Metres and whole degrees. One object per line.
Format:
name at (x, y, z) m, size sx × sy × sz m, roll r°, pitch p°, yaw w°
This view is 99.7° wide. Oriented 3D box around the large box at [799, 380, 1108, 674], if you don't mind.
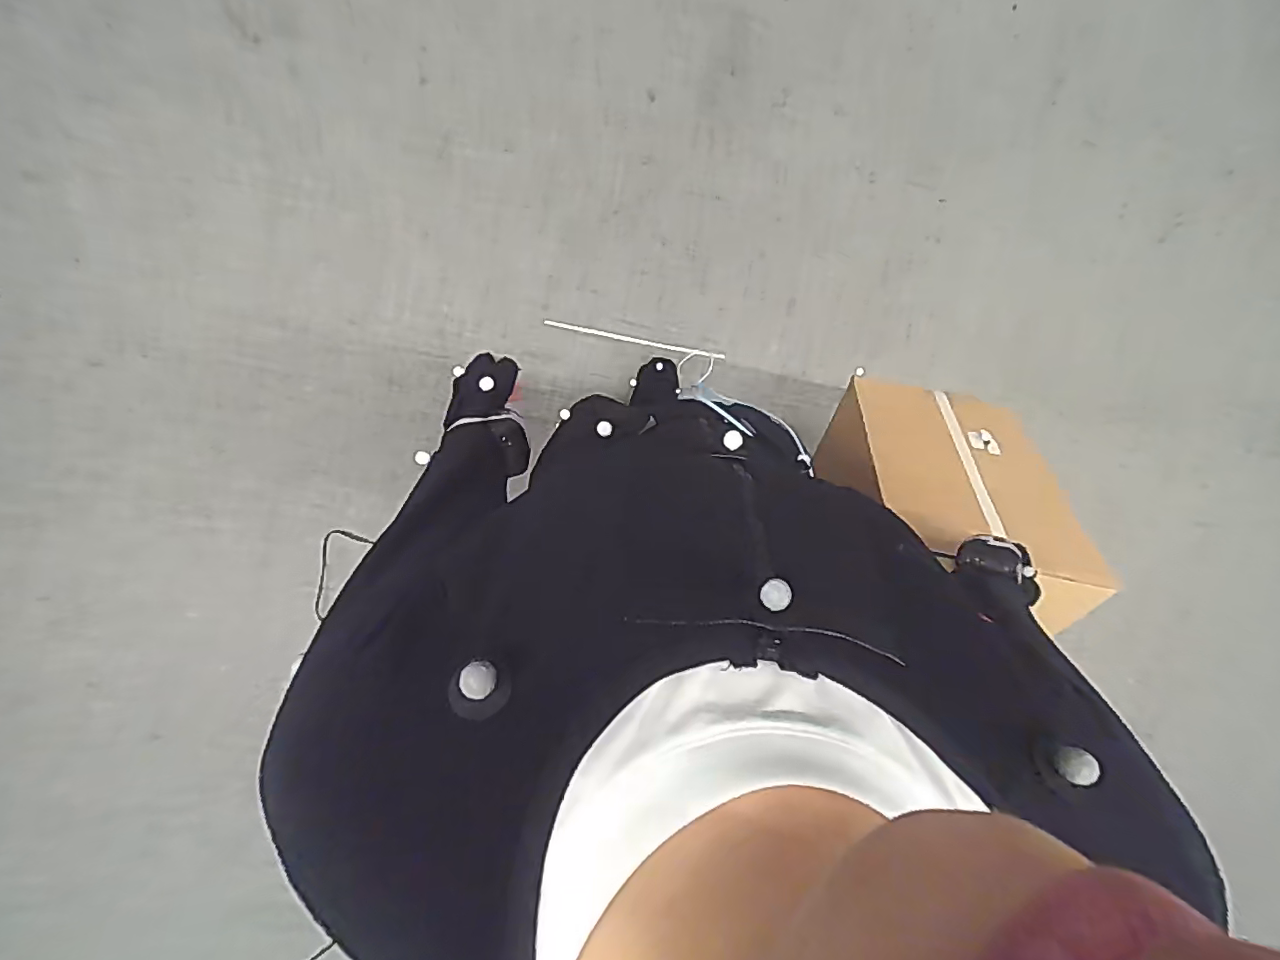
large box at (0.498, 0.081, 0.979) m, size 0.320 × 0.408 × 0.320 m, roll 12°, pitch 136°, yaw -1°
